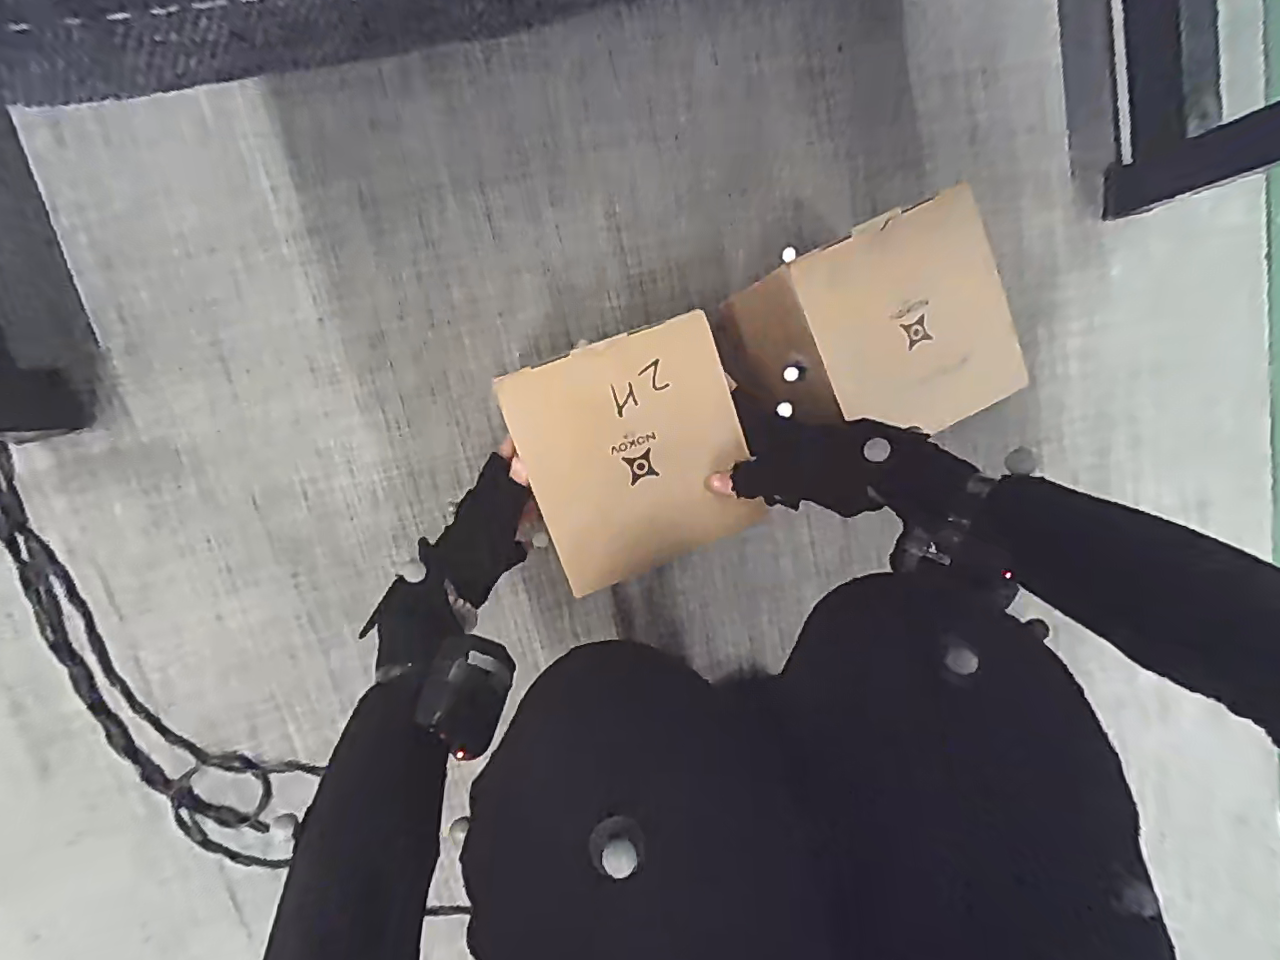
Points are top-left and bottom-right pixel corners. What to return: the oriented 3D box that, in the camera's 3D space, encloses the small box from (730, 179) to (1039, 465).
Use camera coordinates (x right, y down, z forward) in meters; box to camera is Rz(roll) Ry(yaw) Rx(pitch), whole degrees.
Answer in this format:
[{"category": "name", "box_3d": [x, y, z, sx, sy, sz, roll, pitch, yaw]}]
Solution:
[{"category": "small box", "box_3d": [0.205, -0.129, 0.496, 0.168, 0.176, 0.179, -26, 100, -6]}]
